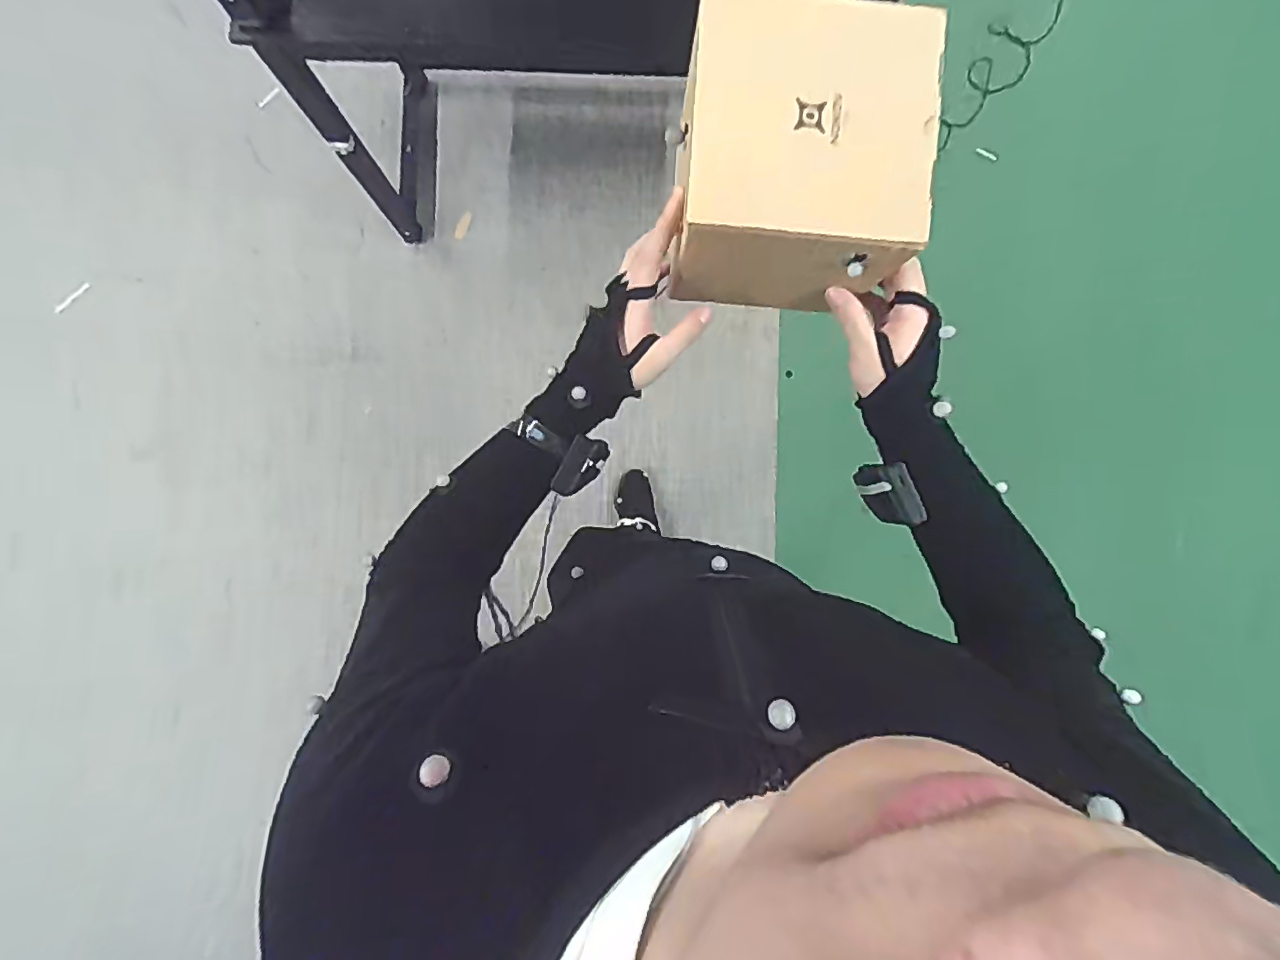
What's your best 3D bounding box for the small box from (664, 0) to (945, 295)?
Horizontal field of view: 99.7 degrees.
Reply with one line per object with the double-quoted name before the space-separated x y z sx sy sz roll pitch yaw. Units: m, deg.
"small box" 0.115 -0.264 0.450 0.179 0.176 0.168 4 92 -3
